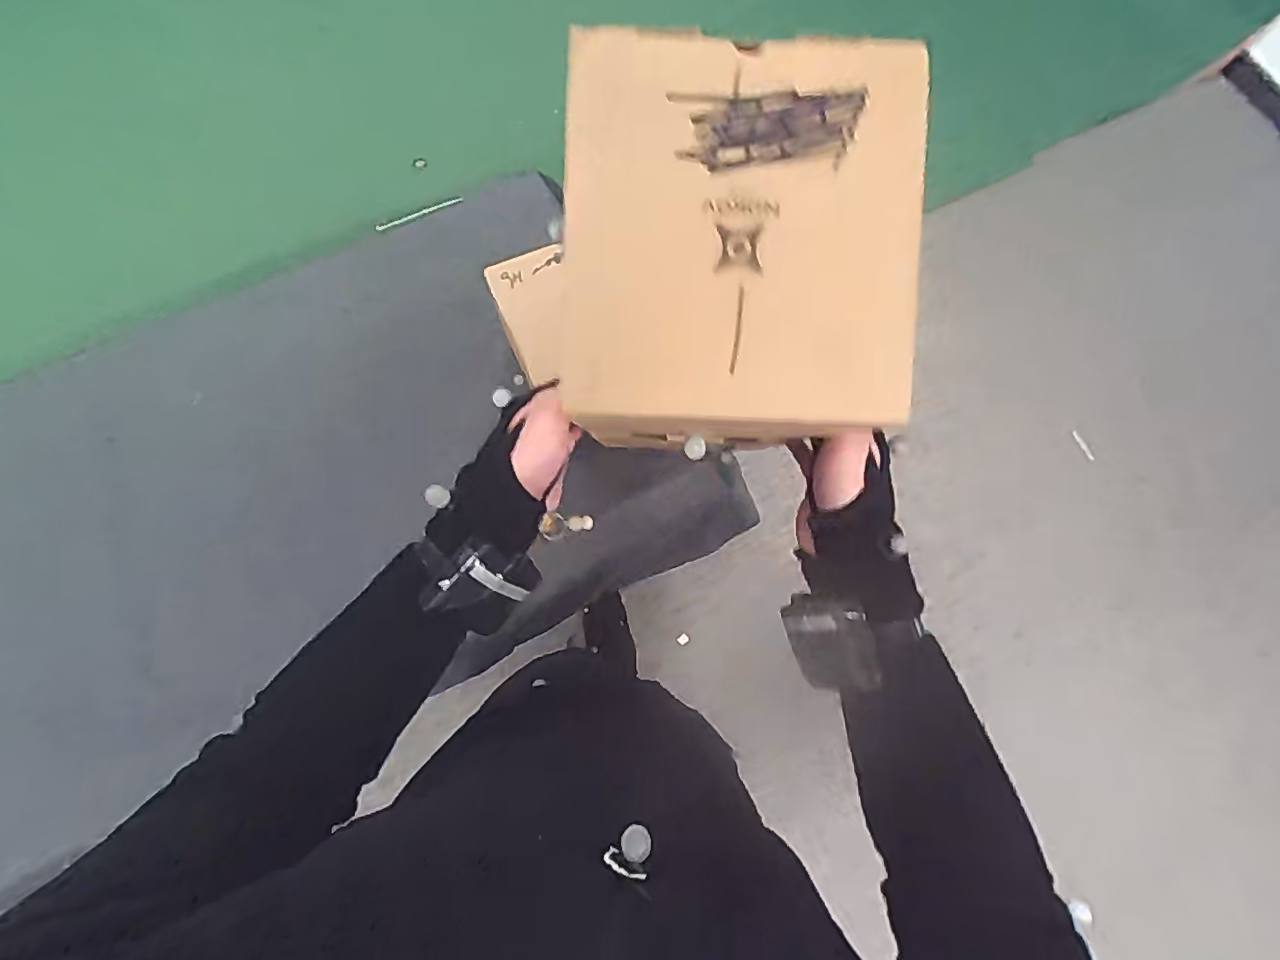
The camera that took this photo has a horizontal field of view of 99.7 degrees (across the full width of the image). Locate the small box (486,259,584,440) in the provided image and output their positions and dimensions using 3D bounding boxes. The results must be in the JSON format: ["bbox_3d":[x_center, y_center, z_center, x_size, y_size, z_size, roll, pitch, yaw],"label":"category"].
[{"bbox_3d":[-0.082,-0.168,0.722,0.168,0.176,0.179,-23,79,-9],"label":"small box"}]

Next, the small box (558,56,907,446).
[{"bbox_3d":[0.042,-0.113,0.337,0.168,0.176,0.179,1,92,-1],"label":"small box"}]
